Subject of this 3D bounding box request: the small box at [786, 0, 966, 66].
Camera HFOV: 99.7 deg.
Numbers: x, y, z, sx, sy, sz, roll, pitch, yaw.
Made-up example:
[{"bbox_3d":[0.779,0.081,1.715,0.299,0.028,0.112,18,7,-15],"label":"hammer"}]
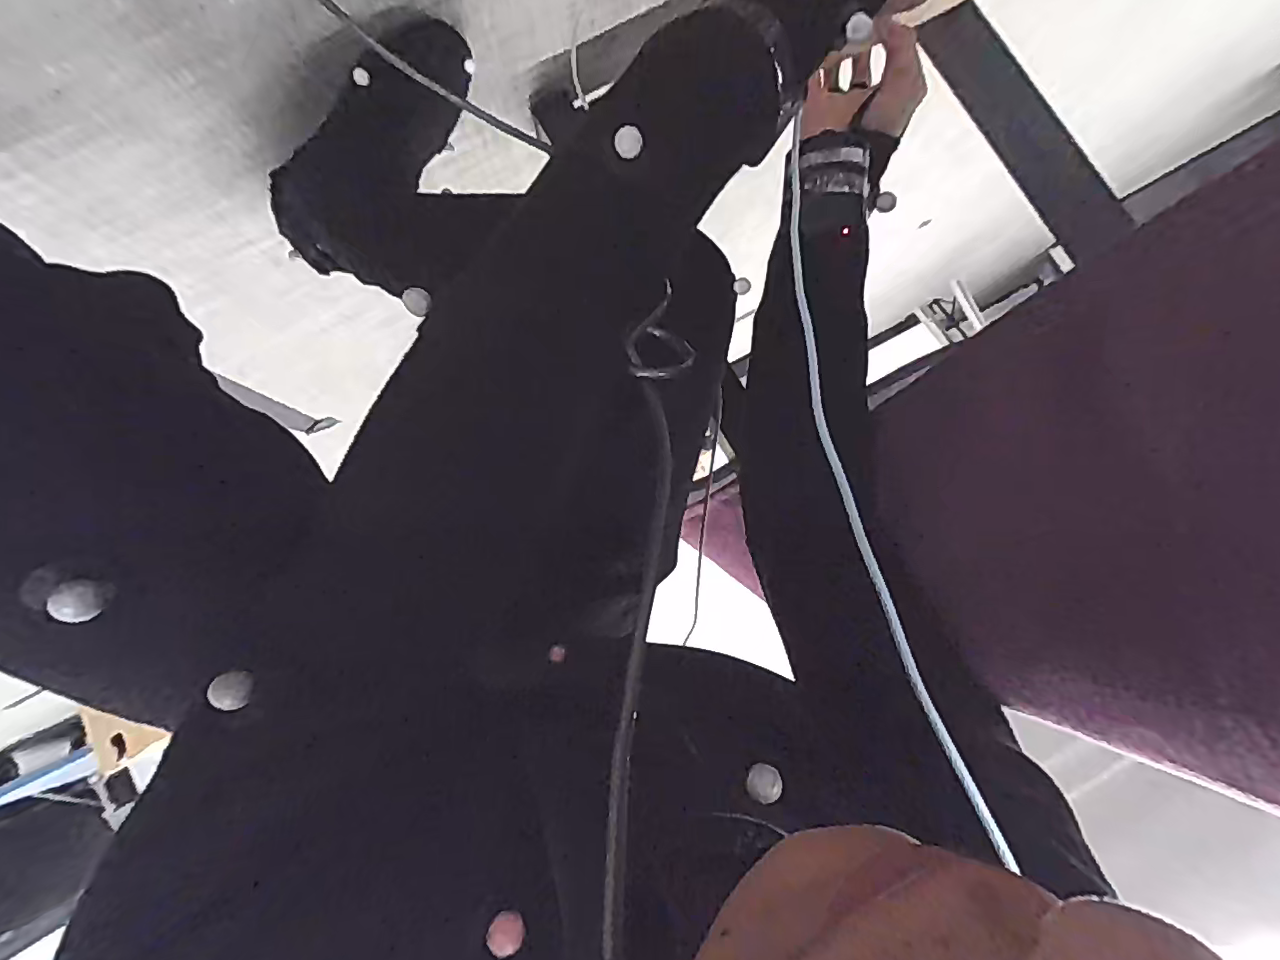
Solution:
[{"bbox_3d":[0.191,-0.478,0.404,0.179,0.176,0.168,-30,173,-5],"label":"small box"}]
